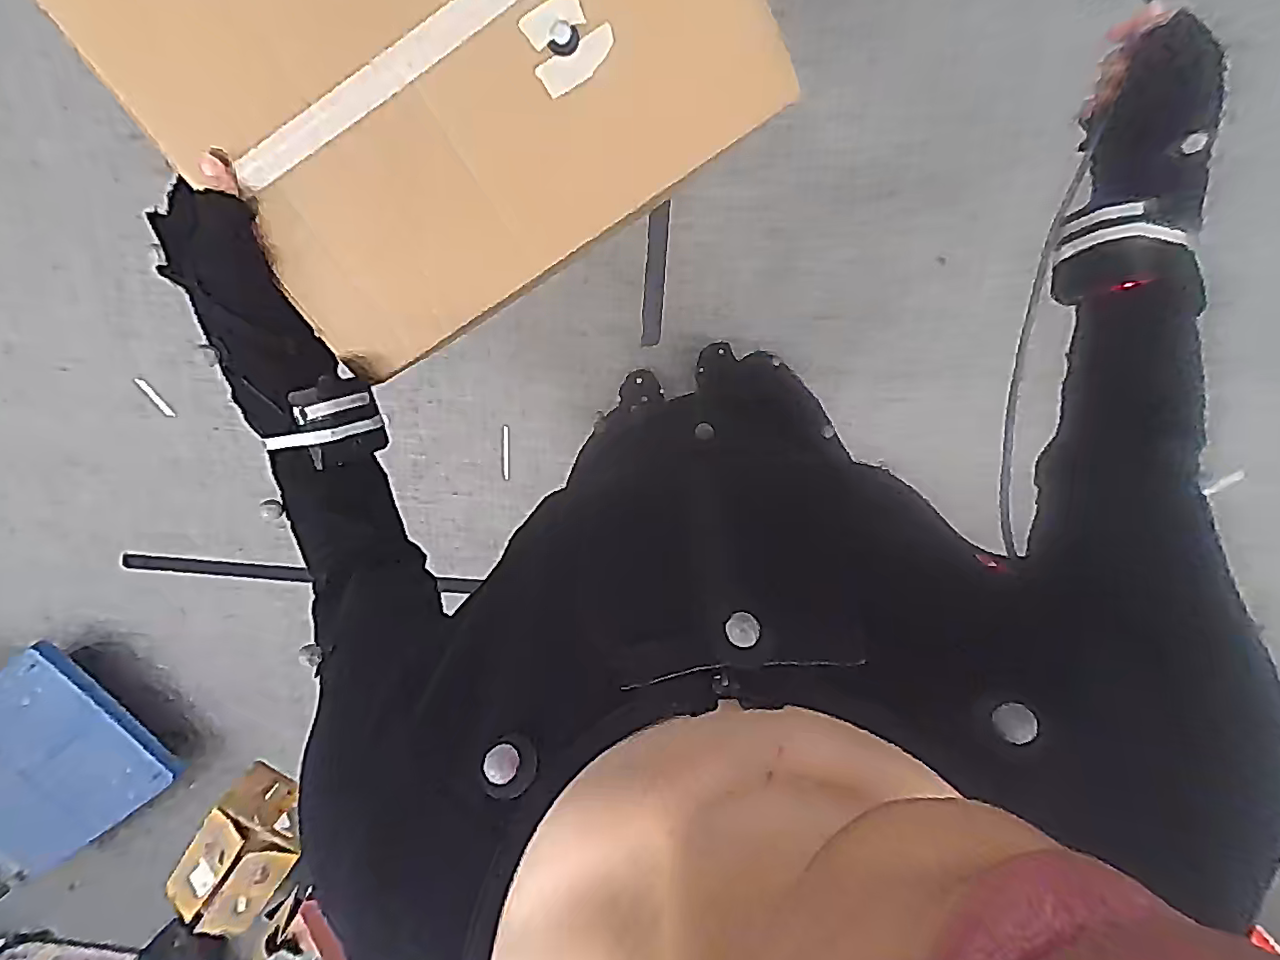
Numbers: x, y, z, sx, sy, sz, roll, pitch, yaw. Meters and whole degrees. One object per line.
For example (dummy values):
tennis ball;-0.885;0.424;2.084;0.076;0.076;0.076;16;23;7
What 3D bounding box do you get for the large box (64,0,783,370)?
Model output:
large box;-0.152;-0.357;0.515;0.408;0.320;0.320;-32;111;4
